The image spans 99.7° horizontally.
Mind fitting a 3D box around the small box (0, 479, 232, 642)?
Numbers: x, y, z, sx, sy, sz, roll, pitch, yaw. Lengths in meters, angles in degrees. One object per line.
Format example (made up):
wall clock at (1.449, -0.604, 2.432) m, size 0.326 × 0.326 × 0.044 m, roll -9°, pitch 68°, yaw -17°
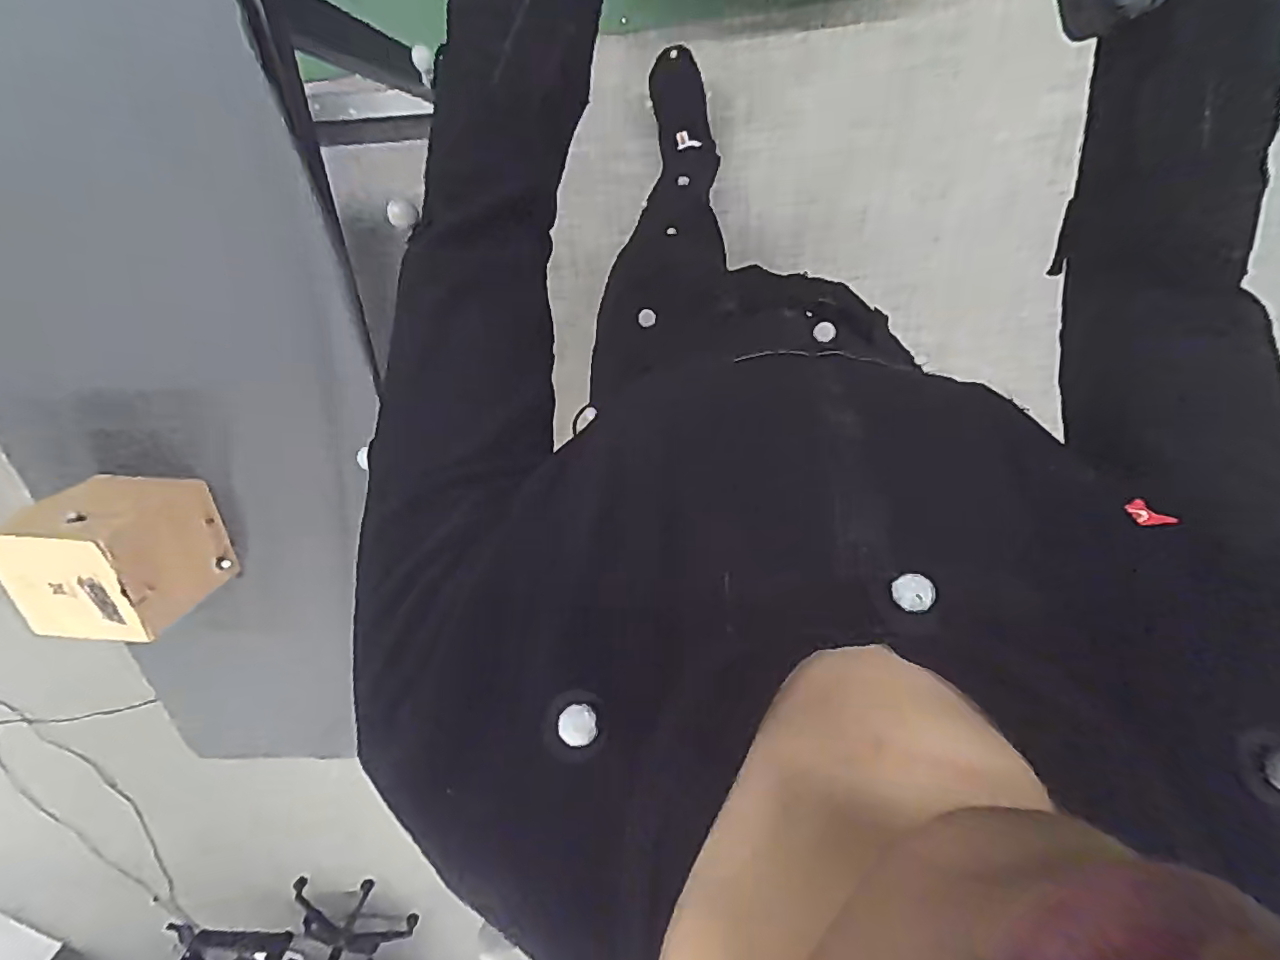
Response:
small box at (-0.734, 0.108, 0.775) m, size 0.179 × 0.176 × 0.168 m, roll 3°, pitch 117°, yaw 4°
